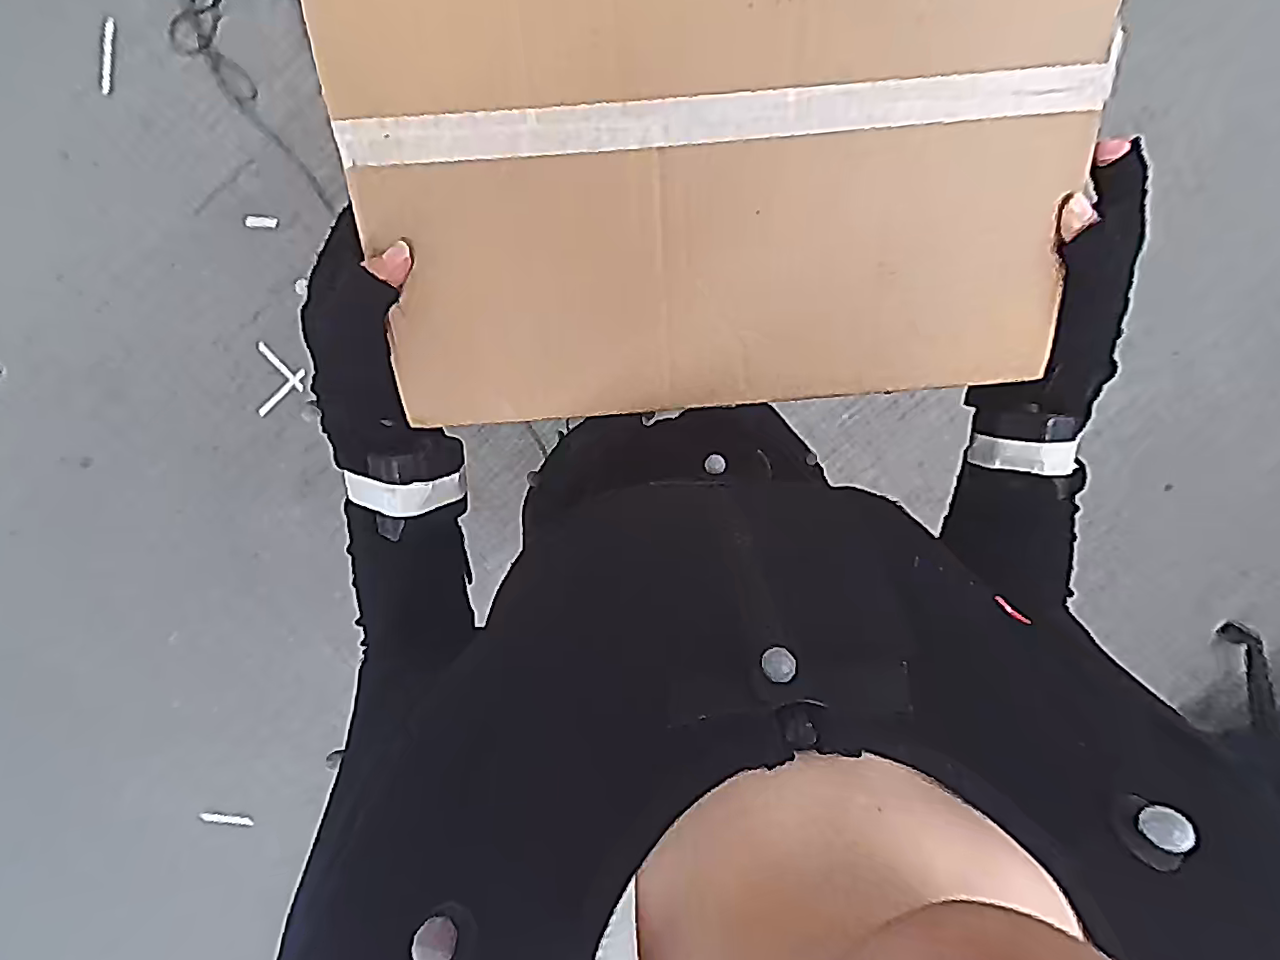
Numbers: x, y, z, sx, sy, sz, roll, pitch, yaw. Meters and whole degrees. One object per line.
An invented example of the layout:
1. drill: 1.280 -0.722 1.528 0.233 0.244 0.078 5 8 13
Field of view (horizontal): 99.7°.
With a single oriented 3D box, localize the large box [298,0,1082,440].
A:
1. large box: 0.029 -0.246 0.433 0.408 0.320 0.320 -6 112 -1
